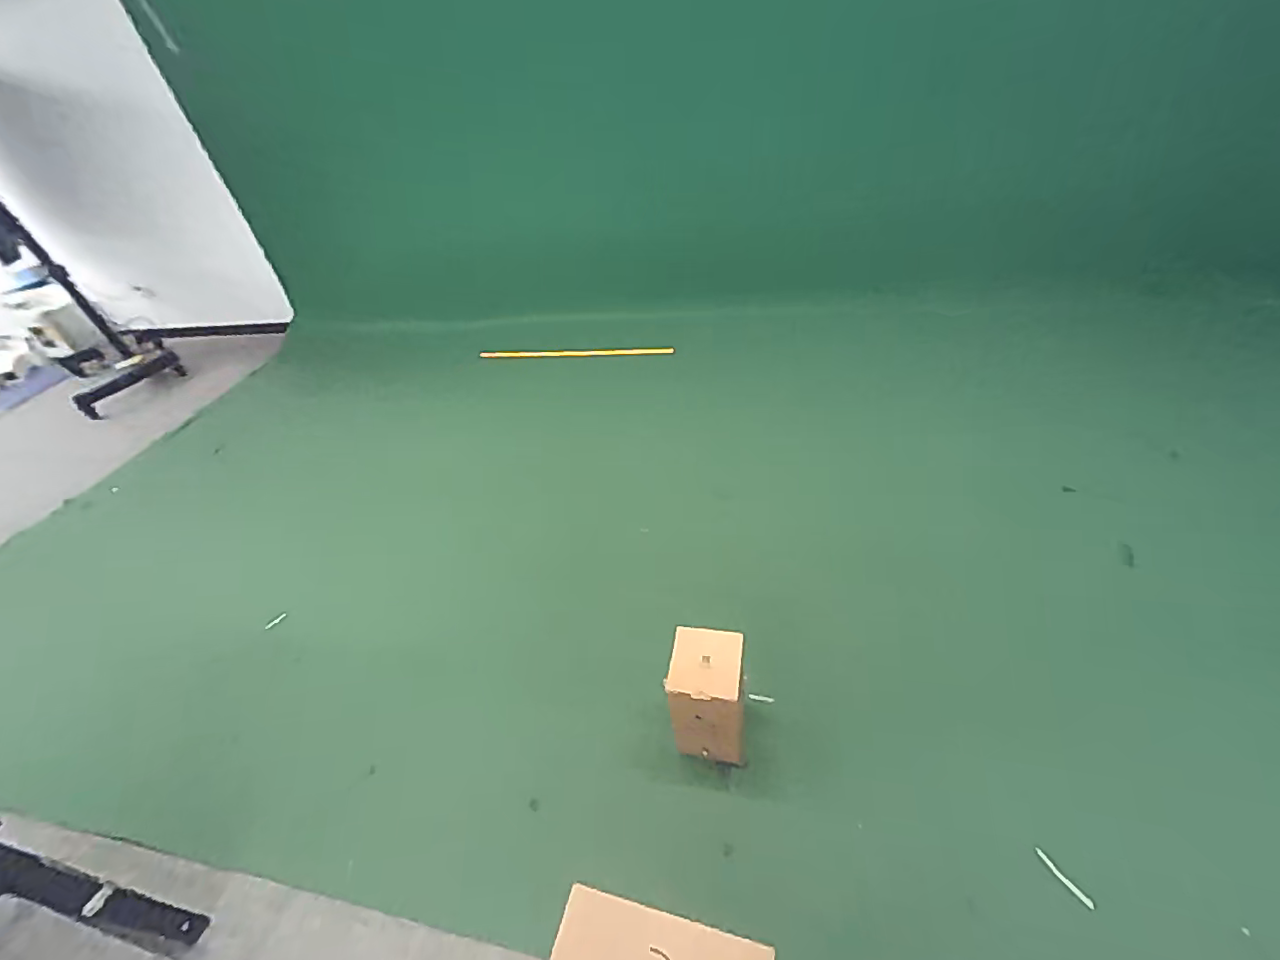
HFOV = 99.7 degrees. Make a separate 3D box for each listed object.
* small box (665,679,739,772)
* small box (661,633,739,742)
[{"bbox_3d":[0.166,0.627,1.414,0.168,0.176,0.179,3,41,15],"label":"small box"},{"bbox_3d":[0.150,0.502,1.312,0.168,0.176,0.179,3,41,13],"label":"small box"}]
